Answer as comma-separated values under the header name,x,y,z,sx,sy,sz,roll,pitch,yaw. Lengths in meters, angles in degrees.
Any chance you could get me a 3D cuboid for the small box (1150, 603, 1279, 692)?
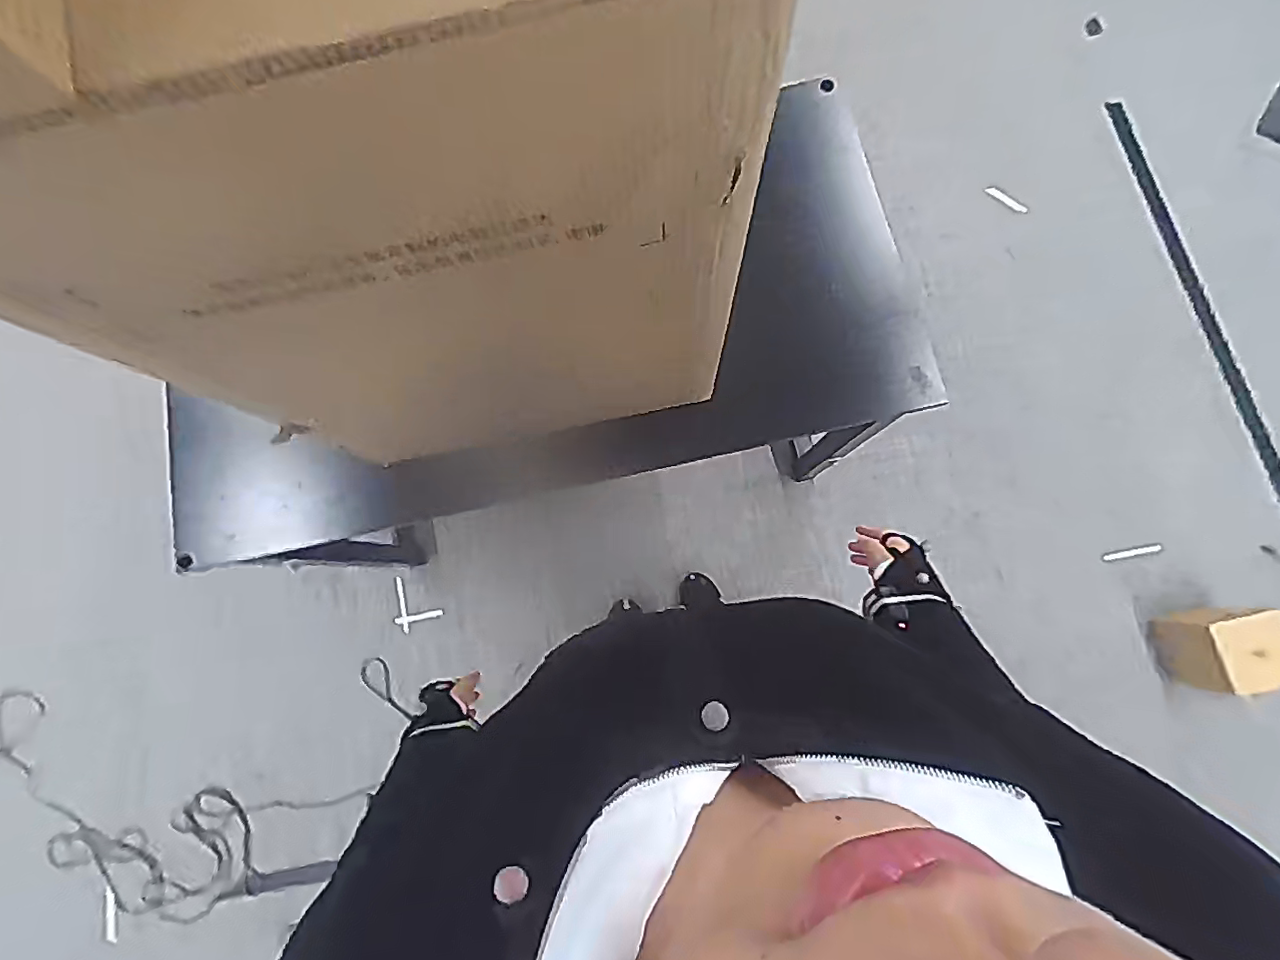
name,x,y,z,sx,sy,sz,roll,pitch,yaw
small box,1.432,0.402,1.325,0.179,0.176,0.168,-14,78,2
